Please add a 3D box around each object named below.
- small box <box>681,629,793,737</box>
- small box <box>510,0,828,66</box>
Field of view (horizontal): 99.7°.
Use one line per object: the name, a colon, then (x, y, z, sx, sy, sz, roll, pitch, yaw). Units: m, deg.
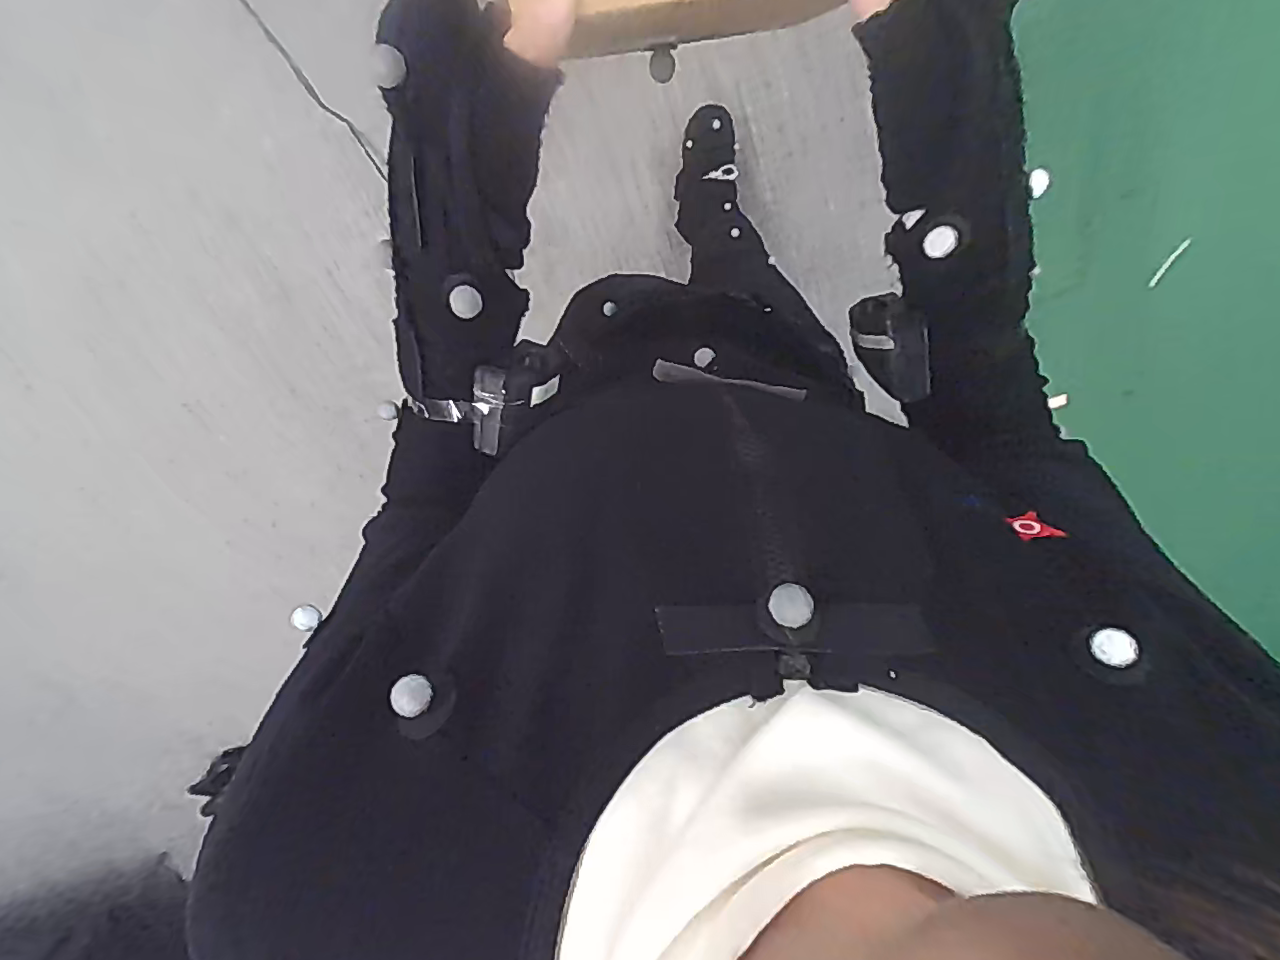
small box: (0.200, 0.455, 1.151, 0.168, 0.176, 0.179, -27, 113, 9)
small box: (0.010, -0.308, 0.233, 0.168, 0.176, 0.179, -9, 123, 1)
